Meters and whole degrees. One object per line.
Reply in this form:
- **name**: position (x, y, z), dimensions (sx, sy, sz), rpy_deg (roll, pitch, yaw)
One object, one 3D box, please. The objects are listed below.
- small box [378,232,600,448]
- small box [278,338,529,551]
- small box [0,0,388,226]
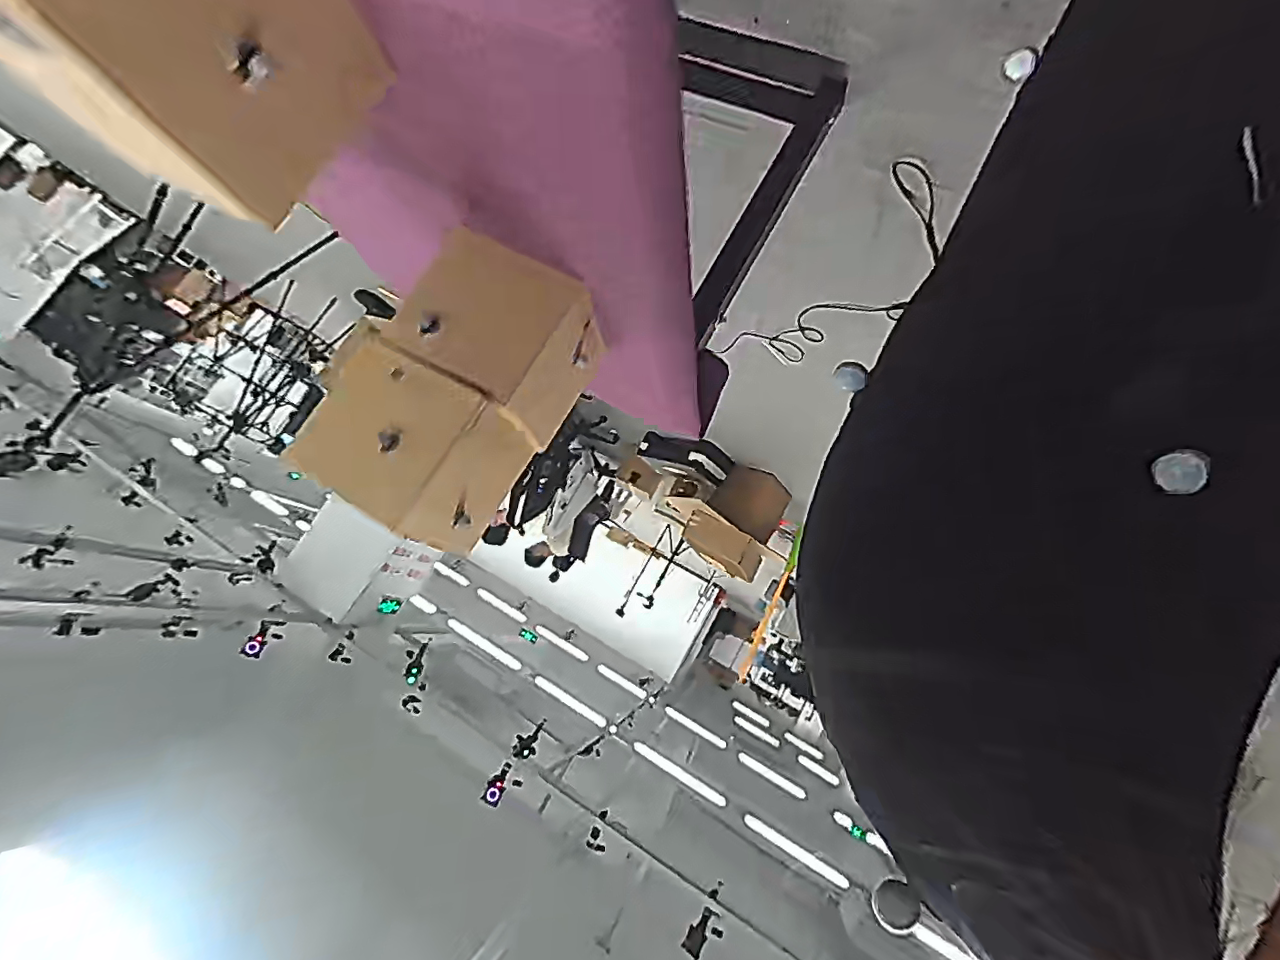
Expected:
- **small box**: position (-0.171, -0.171, 0.669), dimensions (0.179, 0.176, 0.168), rpy_deg (27, 170, 10)
- **small box**: position (-0.260, -0.038, 0.638), dimensions (0.168, 0.176, 0.179), rpy_deg (27, 170, 14)
- **small box**: position (-0.311, -0.317, 0.353), dimensions (0.168, 0.176, 0.179), rpy_deg (27, 170, 11)
